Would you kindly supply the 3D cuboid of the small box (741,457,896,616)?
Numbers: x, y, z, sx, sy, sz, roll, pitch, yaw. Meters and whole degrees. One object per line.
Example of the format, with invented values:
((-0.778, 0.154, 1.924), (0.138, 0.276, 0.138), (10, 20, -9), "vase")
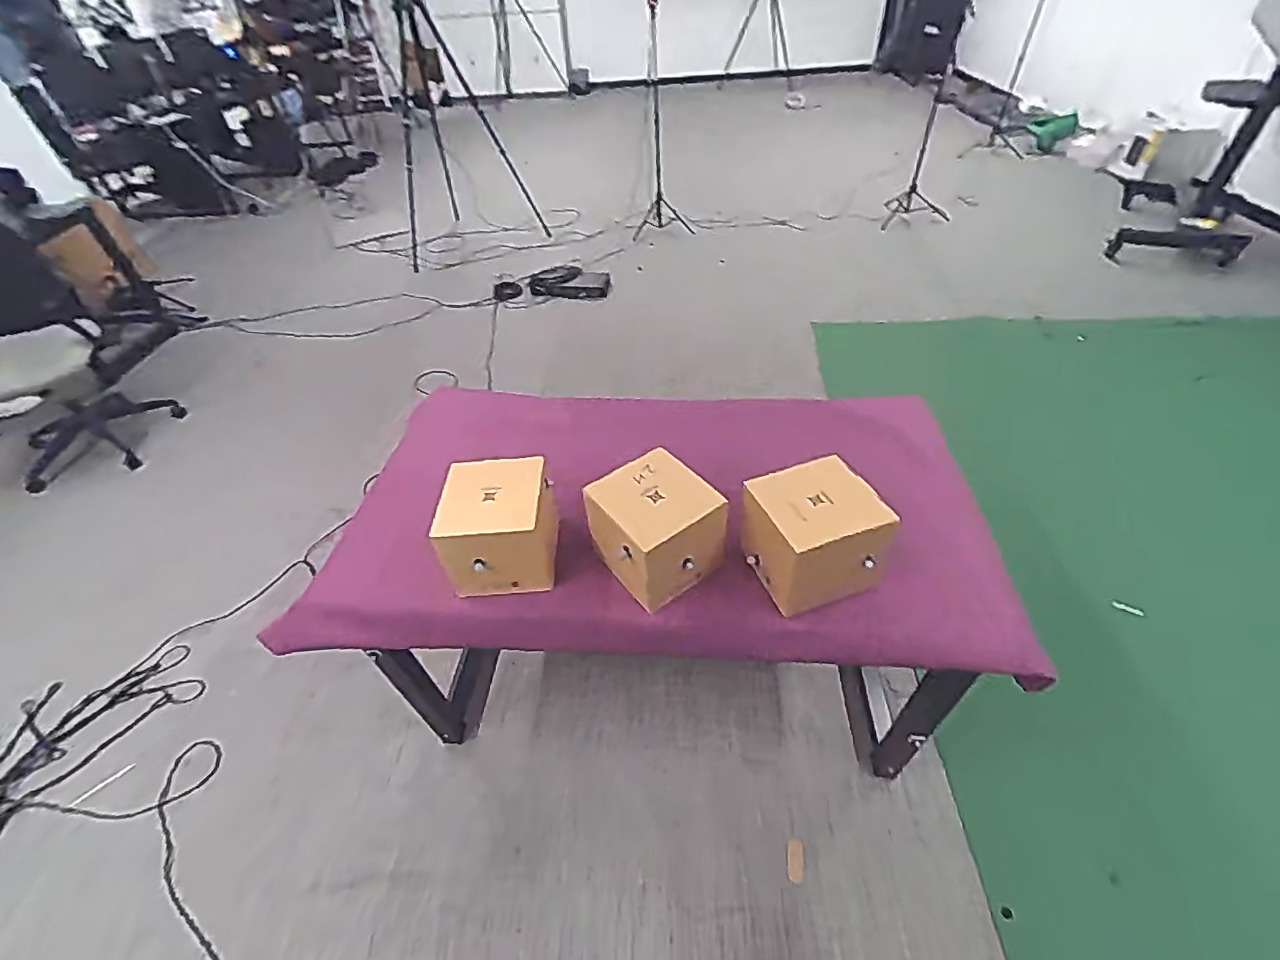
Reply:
((0.280, 0.093, 0.894), (0.179, 0.176, 0.168), (-16, 43, -11), "small box")

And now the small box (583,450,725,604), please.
((0.025, 0.086, 0.921), (0.168, 0.176, 0.179), (-29, 49, -24), "small box")

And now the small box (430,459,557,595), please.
((-0.243, 0.087, 0.944), (0.168, 0.176, 0.179), (-5, 43, 0), "small box")
